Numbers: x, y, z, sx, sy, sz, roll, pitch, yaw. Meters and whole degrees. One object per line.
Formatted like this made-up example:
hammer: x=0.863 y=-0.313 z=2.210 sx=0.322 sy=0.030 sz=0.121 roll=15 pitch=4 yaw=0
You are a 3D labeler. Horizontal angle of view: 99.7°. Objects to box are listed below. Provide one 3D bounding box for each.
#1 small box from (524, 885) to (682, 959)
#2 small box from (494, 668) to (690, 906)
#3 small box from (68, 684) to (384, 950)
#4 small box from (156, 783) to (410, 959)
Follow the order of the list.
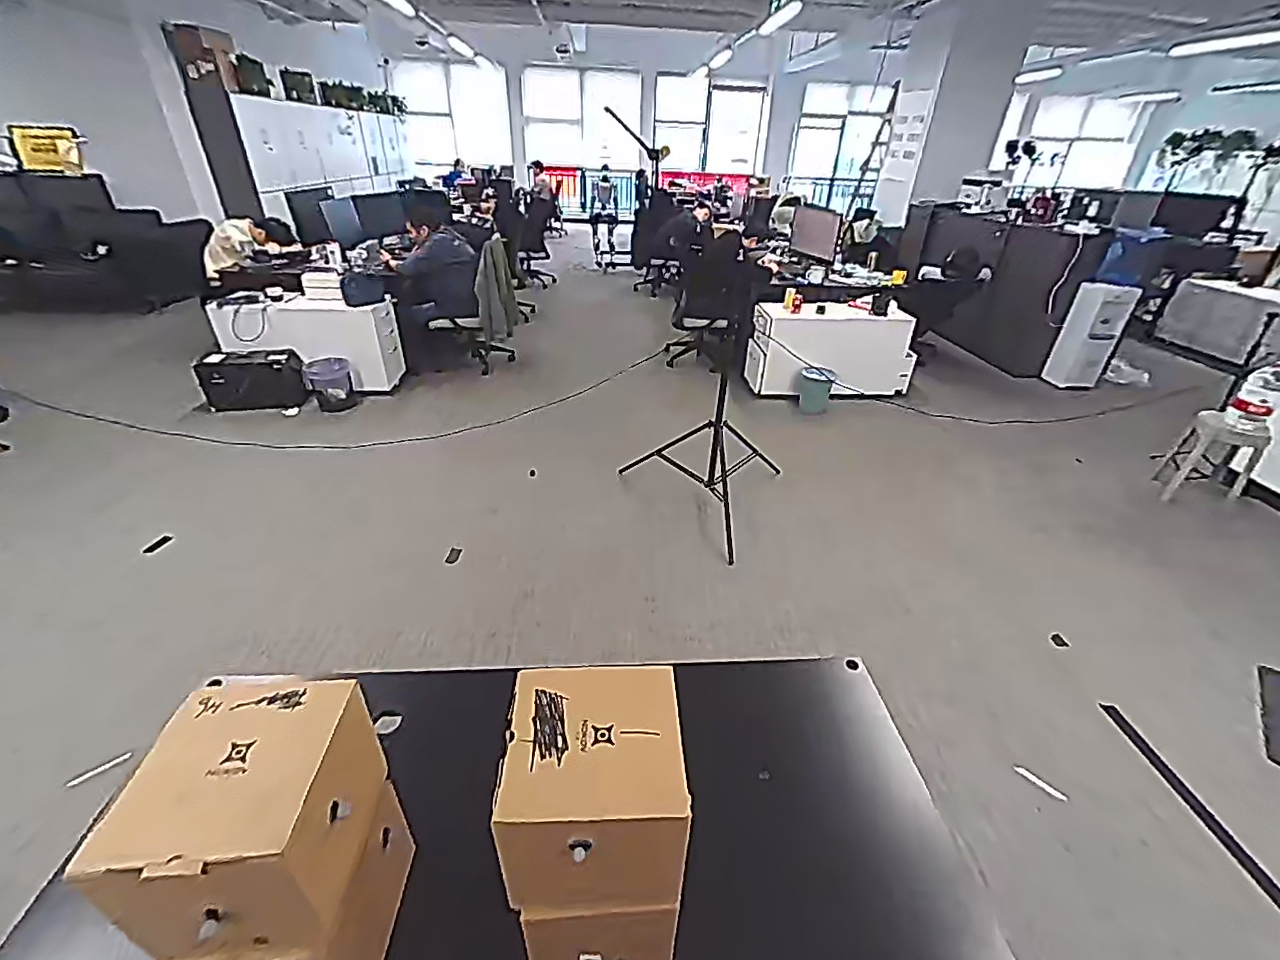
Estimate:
small box: x=-0.046 y=0.467 z=0.666 sx=0.168 sy=0.176 sz=0.179 roll=-2 pitch=32 yaw=-4
small box: x=-0.046 y=0.326 z=0.580 sx=0.179 sy=0.176 sz=0.168 roll=0 pitch=31 yaw=-3
small box: x=-0.377 y=0.335 z=0.541 sx=0.168 sy=0.176 sz=0.179 roll=-1 pitch=32 yaw=-6
small box: x=-0.379 y=0.479 z=0.619 sx=0.168 sy=0.176 sz=0.179 roll=0 pitch=32 yaw=-3
